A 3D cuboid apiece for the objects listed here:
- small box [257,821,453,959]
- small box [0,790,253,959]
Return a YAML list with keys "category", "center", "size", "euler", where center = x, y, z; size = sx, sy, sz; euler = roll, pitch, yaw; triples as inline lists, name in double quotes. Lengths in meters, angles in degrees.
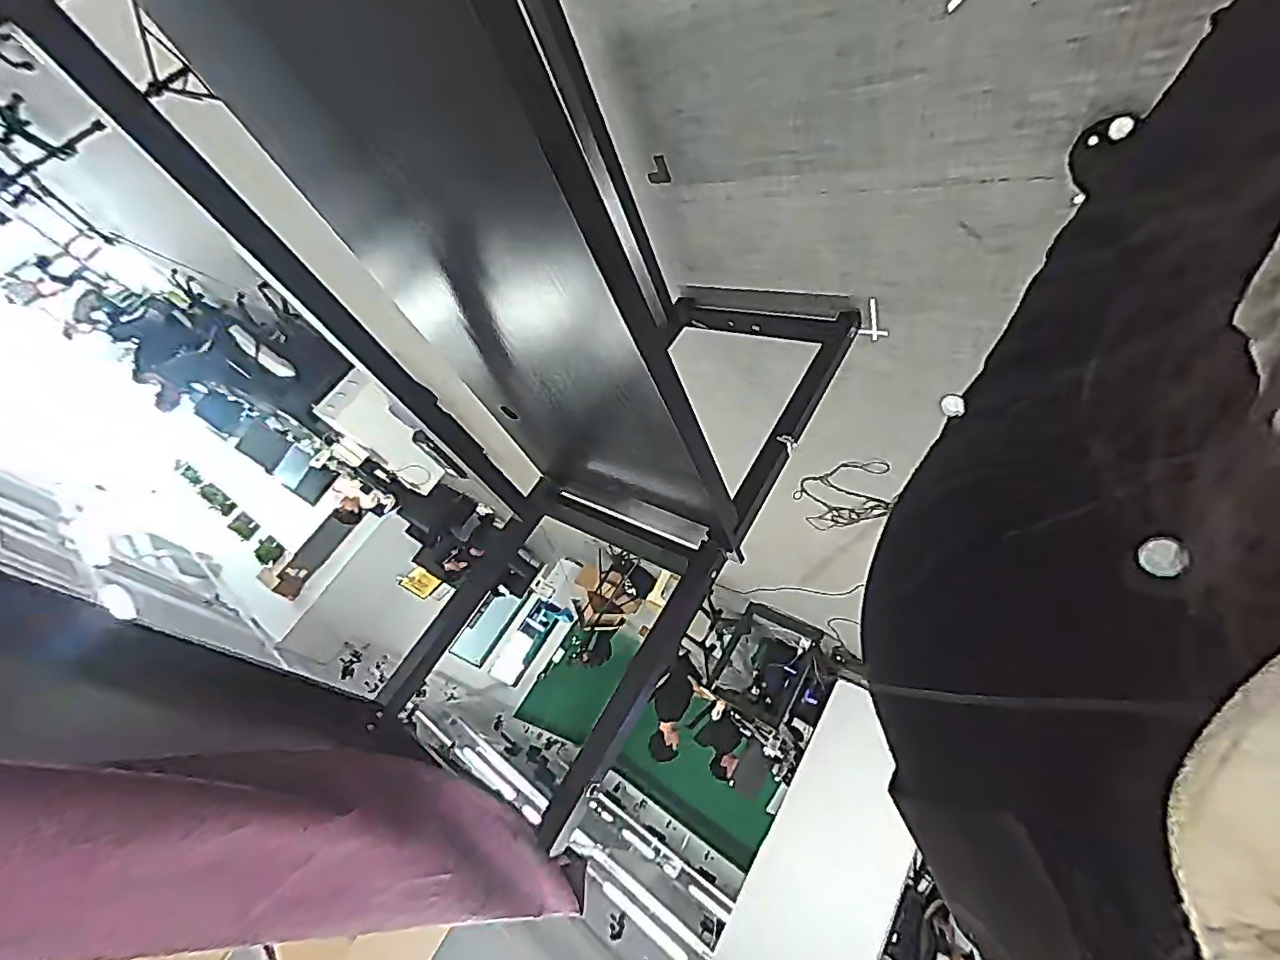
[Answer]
- category: "small box"
  center: [-0.413, 0.637, 0.800]
  size: [0.179, 0.176, 0.168]
  euler: [16, 154, 43]
- category: "small box"
  center: [-0.541, 0.439, 0.545]
  size: [0.179, 0.176, 0.168]
  euler: [18, 155, 38]
